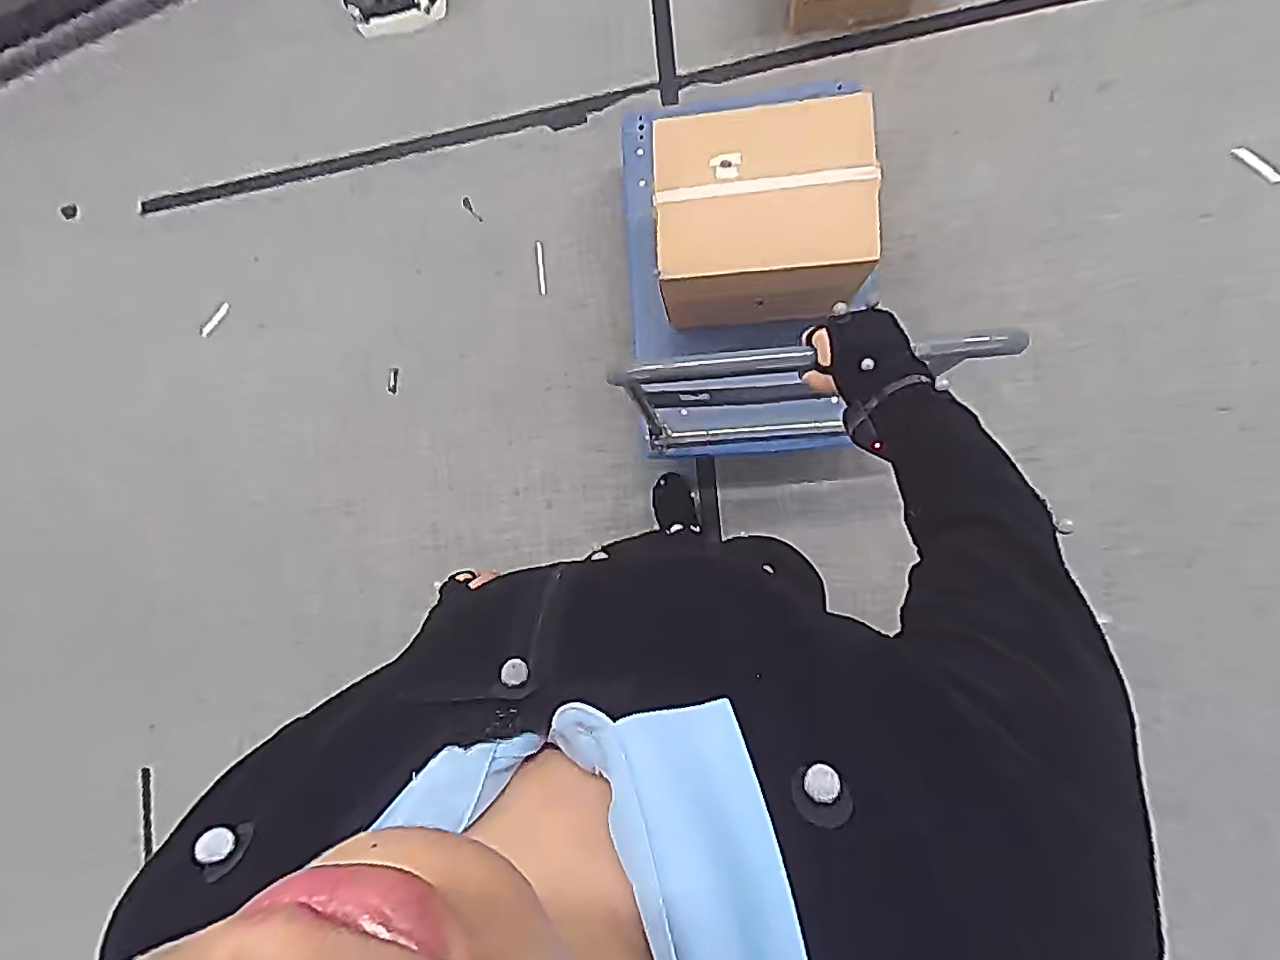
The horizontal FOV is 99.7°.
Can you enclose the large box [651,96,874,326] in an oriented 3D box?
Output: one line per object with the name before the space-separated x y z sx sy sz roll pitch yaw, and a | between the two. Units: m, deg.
large box | 0.249 -0.544 1.170 0.408 0.320 0.320 -3 87 9
